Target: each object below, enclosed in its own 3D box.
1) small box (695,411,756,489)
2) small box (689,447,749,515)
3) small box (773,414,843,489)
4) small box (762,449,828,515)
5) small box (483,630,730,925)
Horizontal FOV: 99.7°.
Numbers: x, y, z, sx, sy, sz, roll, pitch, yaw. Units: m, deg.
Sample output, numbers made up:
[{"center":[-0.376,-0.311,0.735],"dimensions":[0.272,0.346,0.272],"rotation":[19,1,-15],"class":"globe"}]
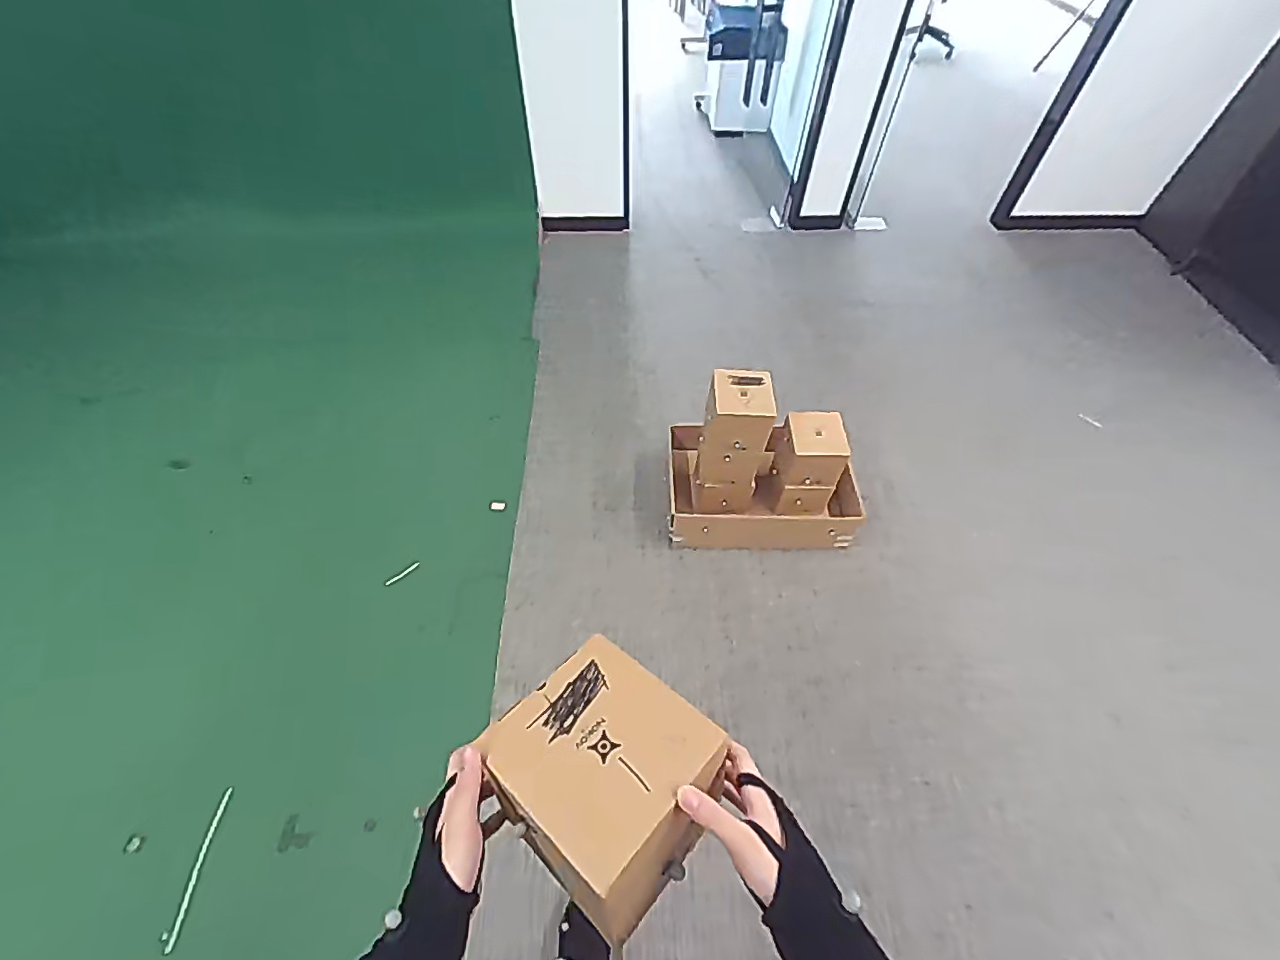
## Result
[{"center":[0.267,-0.094,1.718],"dimensions":[0.168,0.176,0.179],"rotation":[4,53,1],"class":"small box"},{"center":[0.265,0.006,1.849],"dimensions":[0.168,0.176,0.179],"rotation":[1,54,-4],"class":"small box"},{"center":[0.528,-0.090,1.729],"dimensions":[0.168,0.176,0.179],"rotation":[1,54,1],"class":"small box"},{"center":[0.527,0.010,1.858],"dimensions":[0.168,0.176,0.179],"rotation":[0,53,-2],"class":"small box"},{"center":[-0.031,0.298,0.554],"dimensions":[0.179,0.176,0.168],"rotation":[29,48,33],"class":"small box"}]
